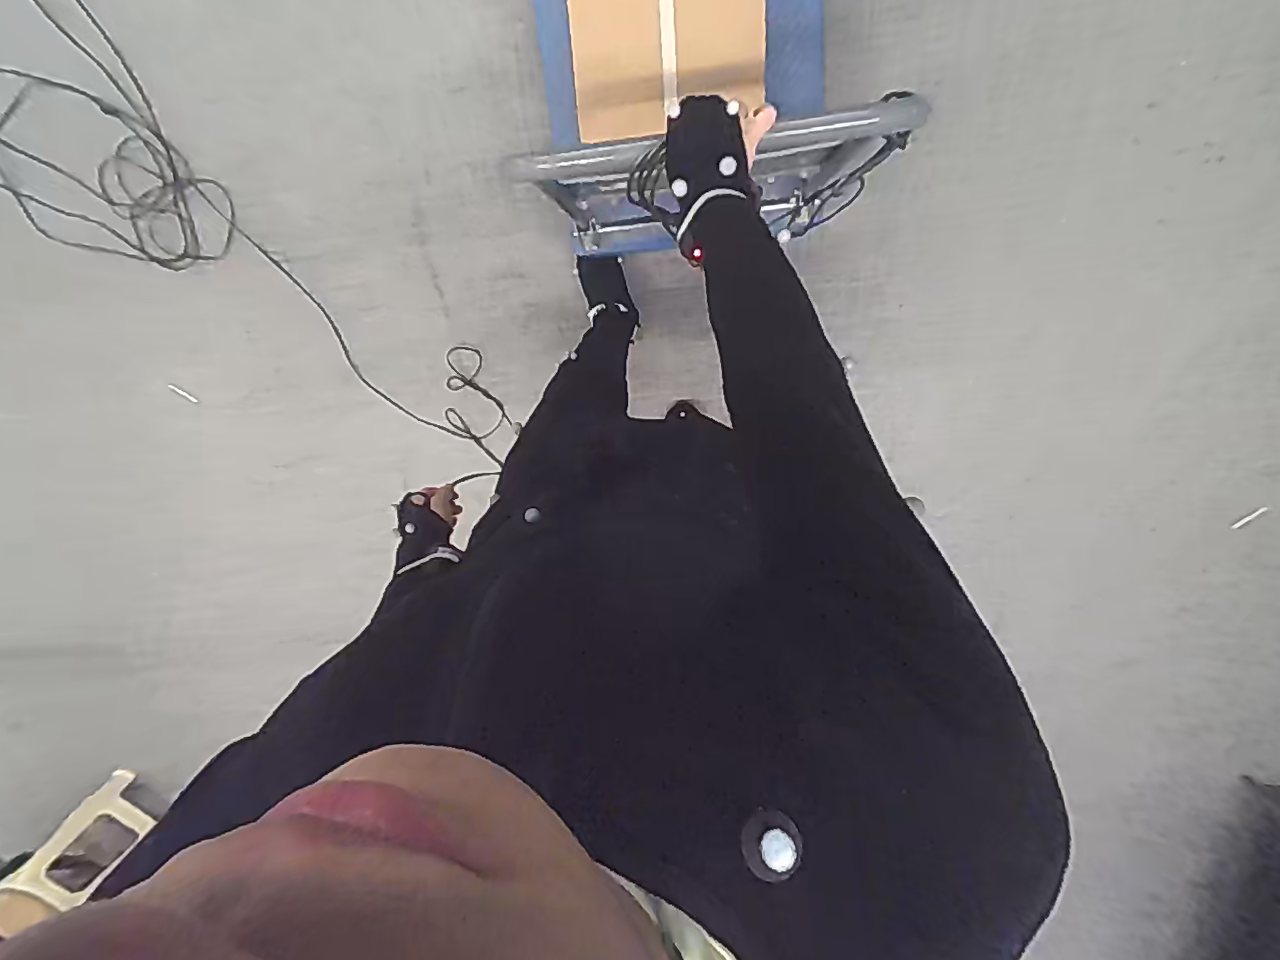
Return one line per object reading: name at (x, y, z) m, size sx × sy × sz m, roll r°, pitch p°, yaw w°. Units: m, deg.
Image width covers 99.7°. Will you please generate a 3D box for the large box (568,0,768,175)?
large box at (0.053, -0.815, 0.973) m, size 0.320 × 0.320 × 0.408 m, roll -2°, pitch 109°, yaw 5°
